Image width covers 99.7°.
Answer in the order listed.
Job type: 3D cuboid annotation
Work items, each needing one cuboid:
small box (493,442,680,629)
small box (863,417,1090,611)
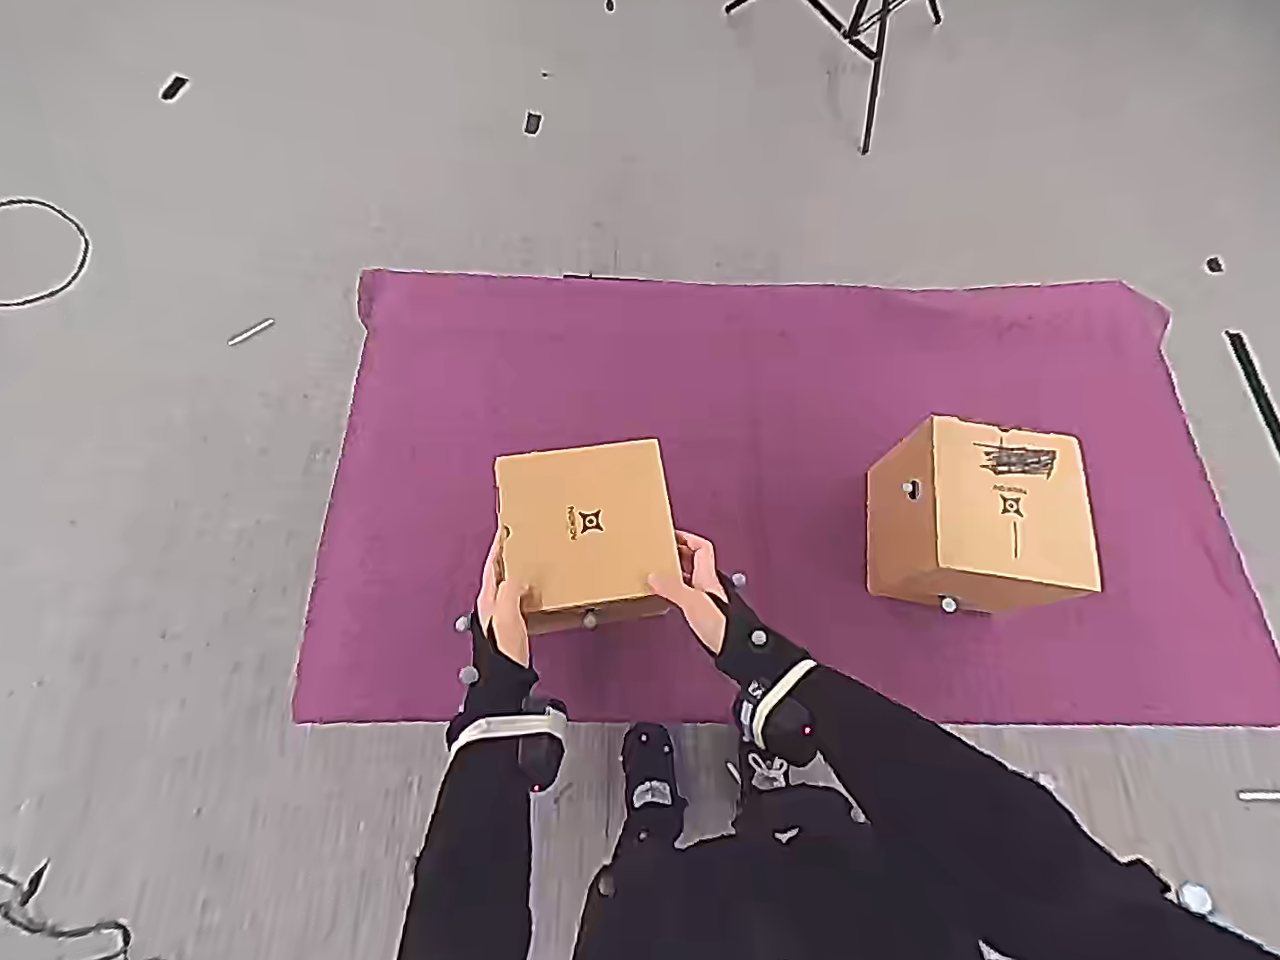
[{"bbox_3d":[-0.061,0.071,0.622,0.179,0.176,0.168,-8,70,-5],"label":"small box"},{"bbox_3d":[0.382,0.049,0.649,0.168,0.176,0.179,9,70,1],"label":"small box"}]
